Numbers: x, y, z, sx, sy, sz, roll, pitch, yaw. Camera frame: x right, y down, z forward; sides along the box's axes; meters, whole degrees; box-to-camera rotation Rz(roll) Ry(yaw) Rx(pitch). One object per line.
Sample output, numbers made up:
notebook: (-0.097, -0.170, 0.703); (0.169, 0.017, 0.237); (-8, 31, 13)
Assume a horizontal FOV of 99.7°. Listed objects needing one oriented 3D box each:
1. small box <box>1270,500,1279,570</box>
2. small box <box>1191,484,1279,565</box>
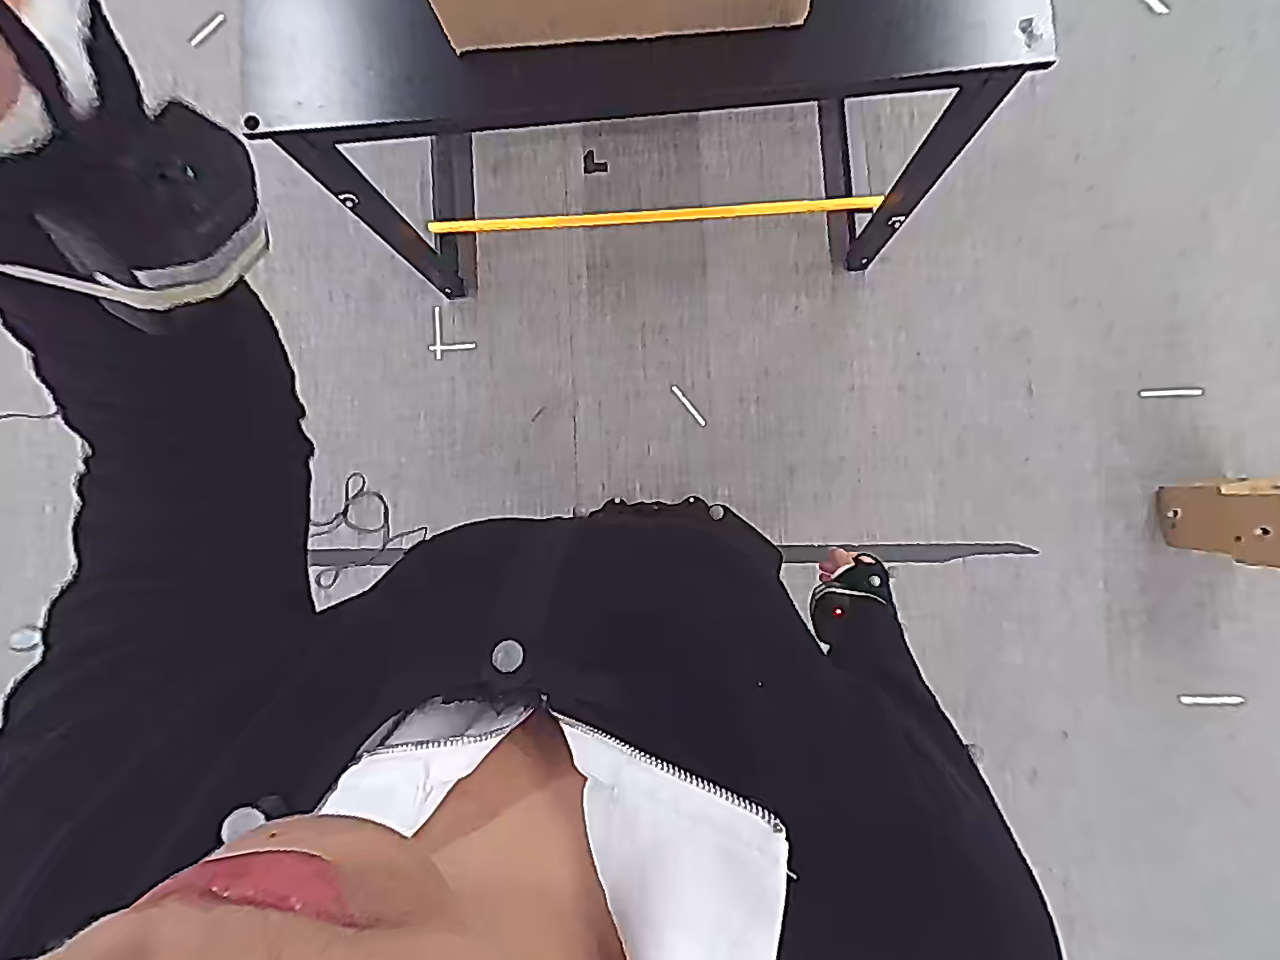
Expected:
small box: (1.457, 0.112, 1.099); (0.179, 0.176, 0.168); (-10, 87, 4)
small box: (1.466, 0.098, 1.263); (0.179, 0.176, 0.168); (-9, 87, 4)
